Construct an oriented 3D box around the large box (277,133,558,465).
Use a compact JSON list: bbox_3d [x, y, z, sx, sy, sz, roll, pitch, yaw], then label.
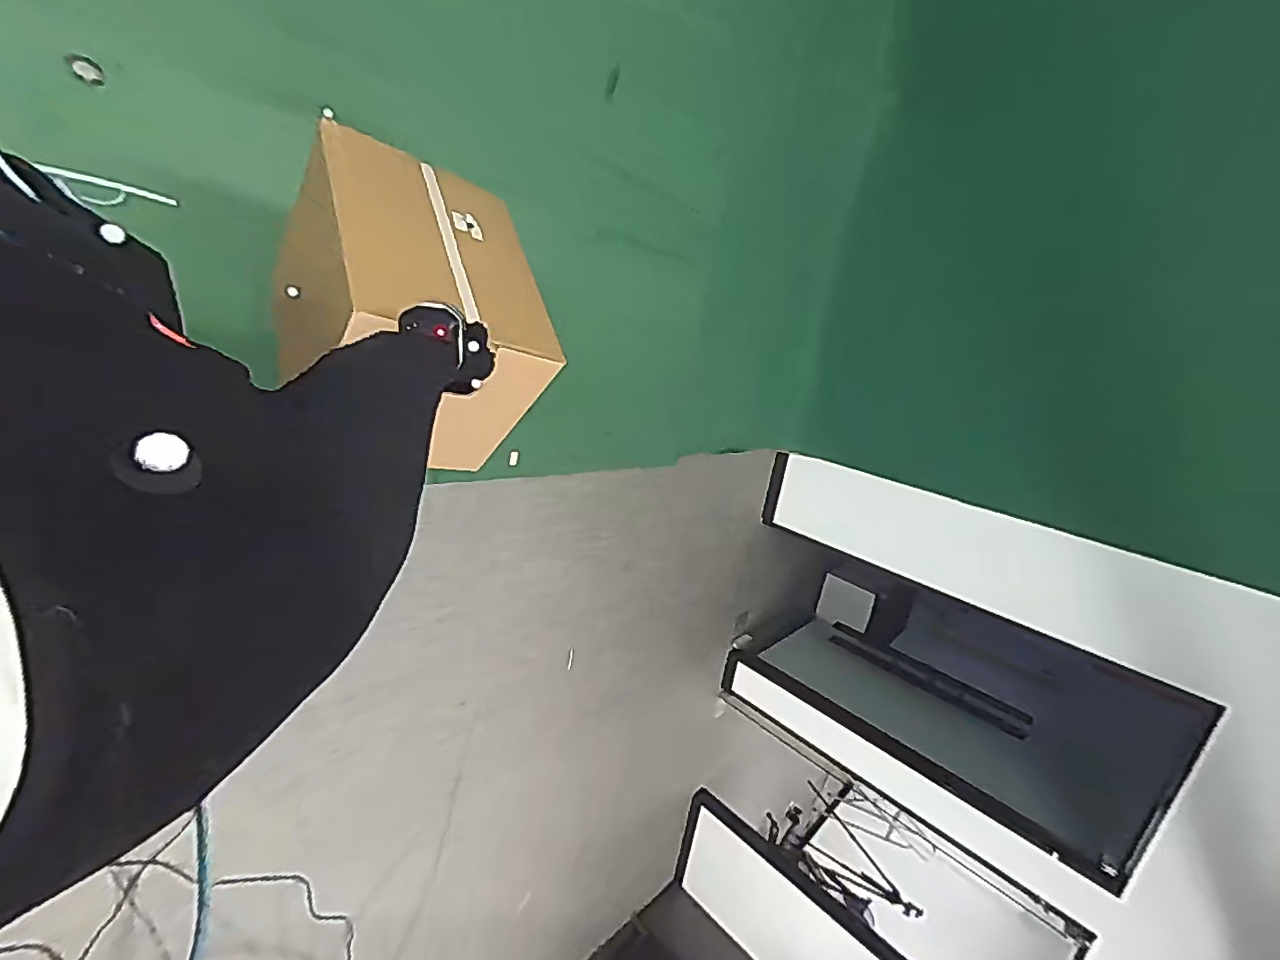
[{"bbox_3d":[-0.399,-0.273,0.926,0.320,0.408,0.320,4,143,-45],"label":"large box"}]
